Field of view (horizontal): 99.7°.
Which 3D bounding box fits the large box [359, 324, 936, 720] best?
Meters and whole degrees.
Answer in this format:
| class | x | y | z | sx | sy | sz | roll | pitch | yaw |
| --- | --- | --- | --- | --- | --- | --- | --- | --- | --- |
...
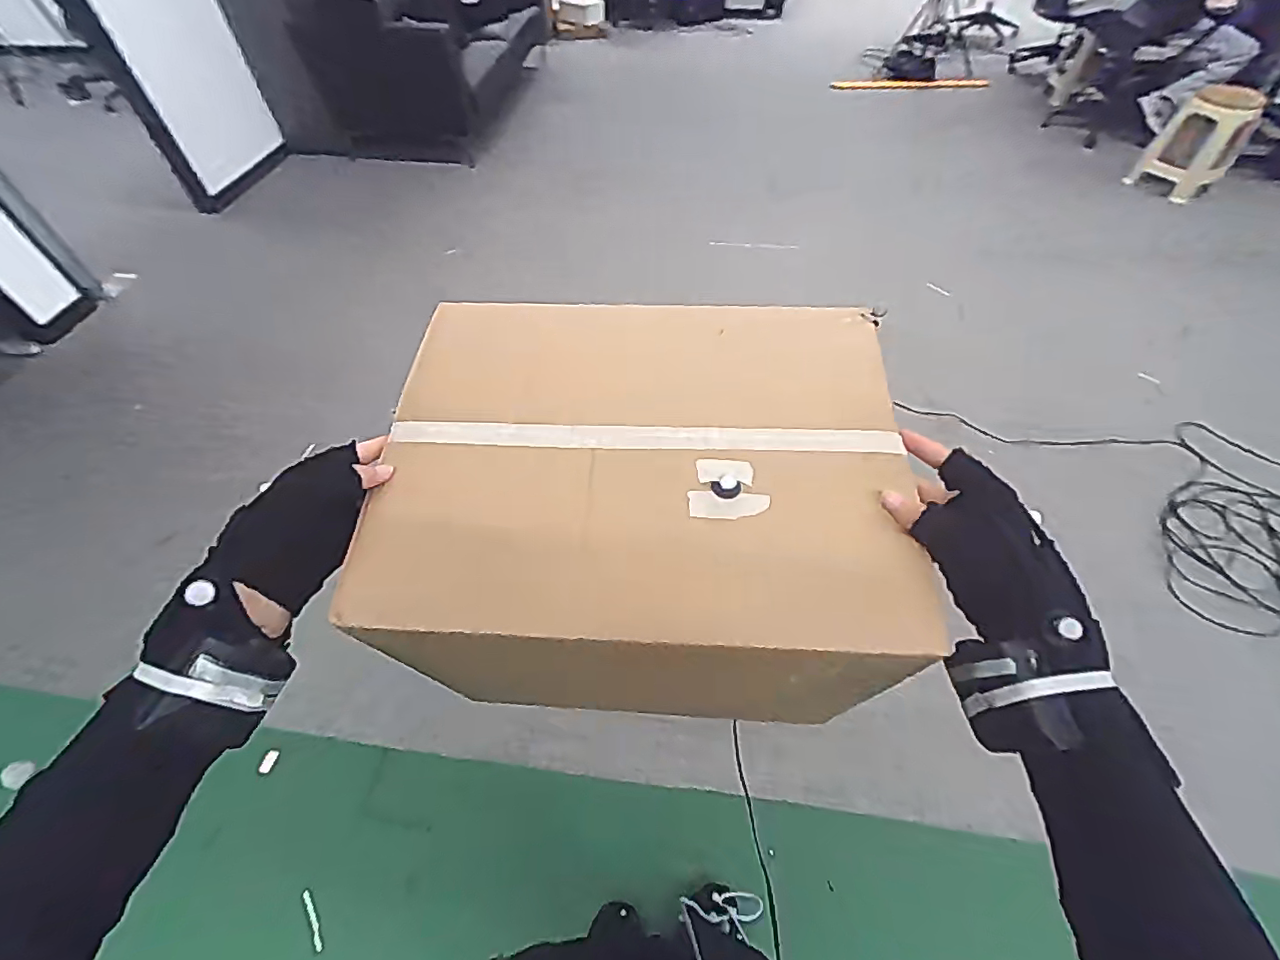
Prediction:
| class | x | y | z | sx | sy | sz | roll | pitch | yaw |
| --- | --- | --- | --- | --- | --- | --- | --- | --- | --- |
| large box | 0.011 | 0.058 | 0.569 | 0.408 | 0.320 | 0.320 | 2 | 59 | 4 |
